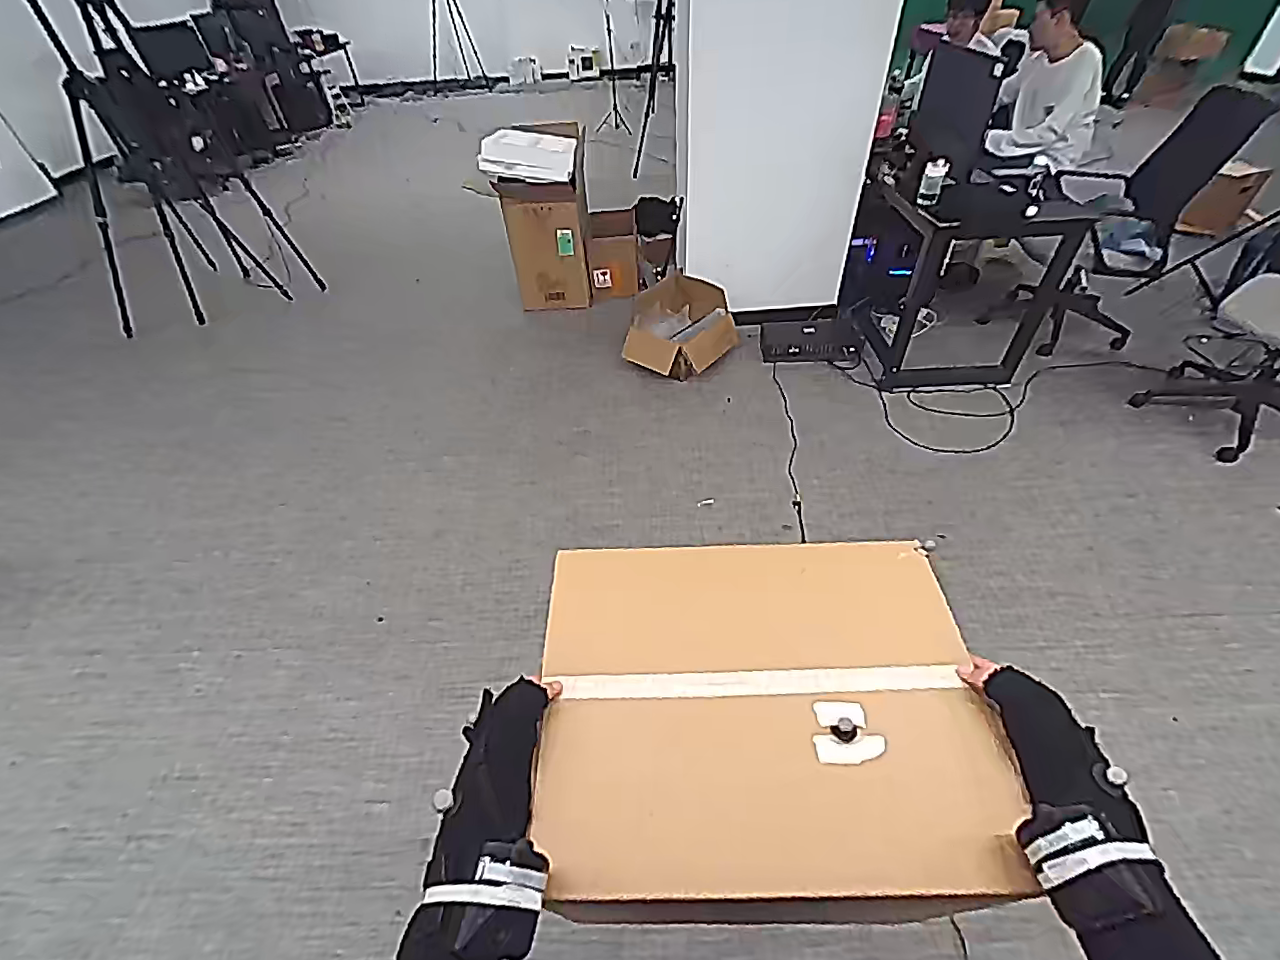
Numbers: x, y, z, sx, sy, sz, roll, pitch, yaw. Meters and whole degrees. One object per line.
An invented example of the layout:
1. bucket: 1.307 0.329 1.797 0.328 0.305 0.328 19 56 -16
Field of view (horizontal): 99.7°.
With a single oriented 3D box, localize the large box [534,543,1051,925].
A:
1. large box: 0.115 0.292 0.617 0.408 0.320 0.320 -2 48 1
